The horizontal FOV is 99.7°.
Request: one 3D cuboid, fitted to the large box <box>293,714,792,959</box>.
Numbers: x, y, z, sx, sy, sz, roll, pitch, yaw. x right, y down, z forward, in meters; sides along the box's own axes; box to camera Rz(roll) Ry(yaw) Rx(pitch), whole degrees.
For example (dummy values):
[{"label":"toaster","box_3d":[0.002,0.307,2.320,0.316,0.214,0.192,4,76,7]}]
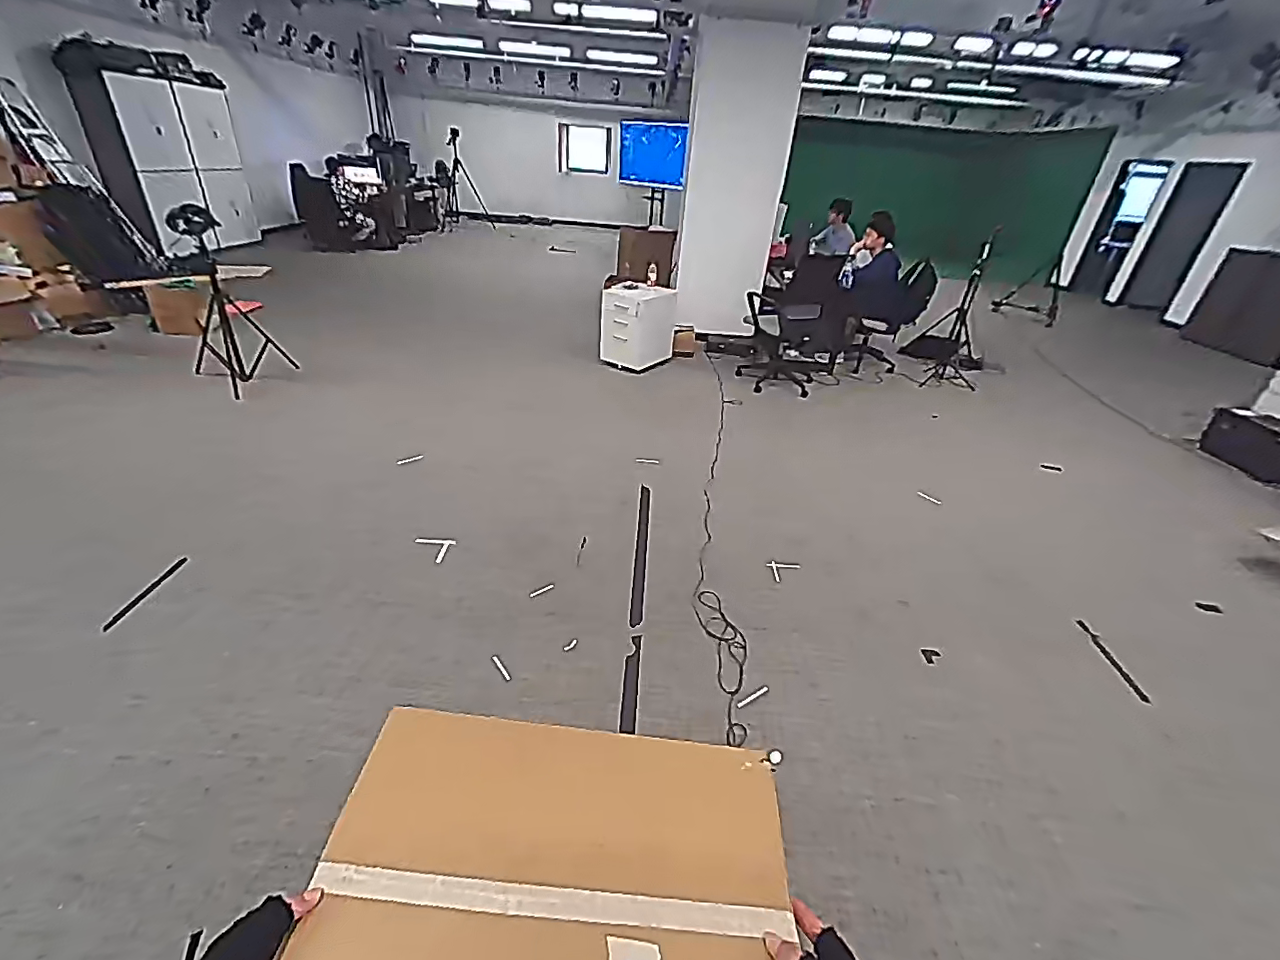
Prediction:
[{"label":"large box","box_3d":[-0.088,0.483,0.548,0.408,0.320,0.320,8,35,-2]}]
